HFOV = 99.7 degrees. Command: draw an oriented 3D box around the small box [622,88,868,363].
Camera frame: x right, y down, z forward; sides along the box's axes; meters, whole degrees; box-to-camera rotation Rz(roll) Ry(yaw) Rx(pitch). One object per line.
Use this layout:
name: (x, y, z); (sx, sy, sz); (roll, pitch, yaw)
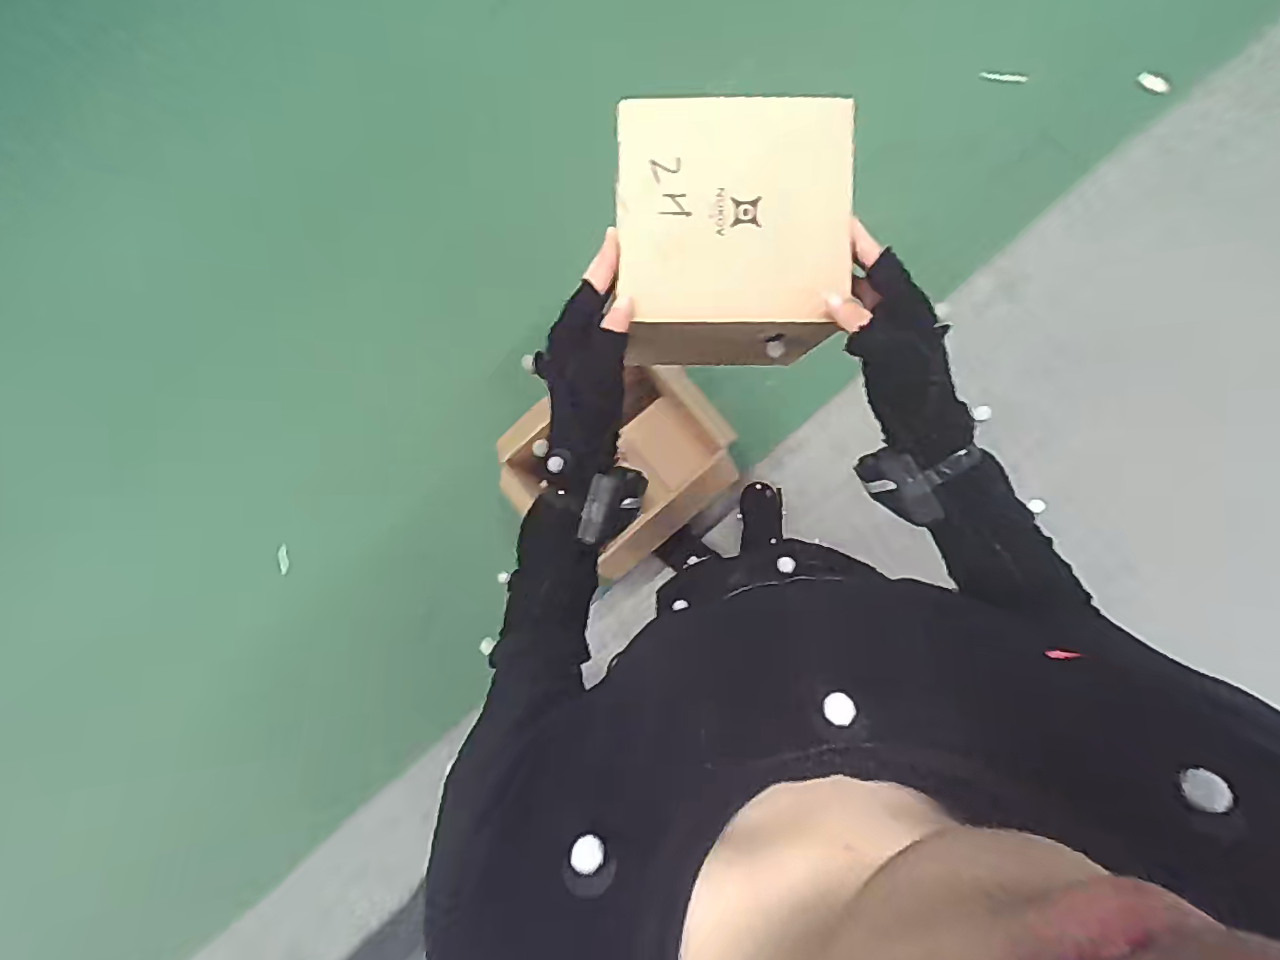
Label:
small box: (0.077, -0.201, 0.473); (0.179, 0.176, 0.168); (1, 91, 1)
